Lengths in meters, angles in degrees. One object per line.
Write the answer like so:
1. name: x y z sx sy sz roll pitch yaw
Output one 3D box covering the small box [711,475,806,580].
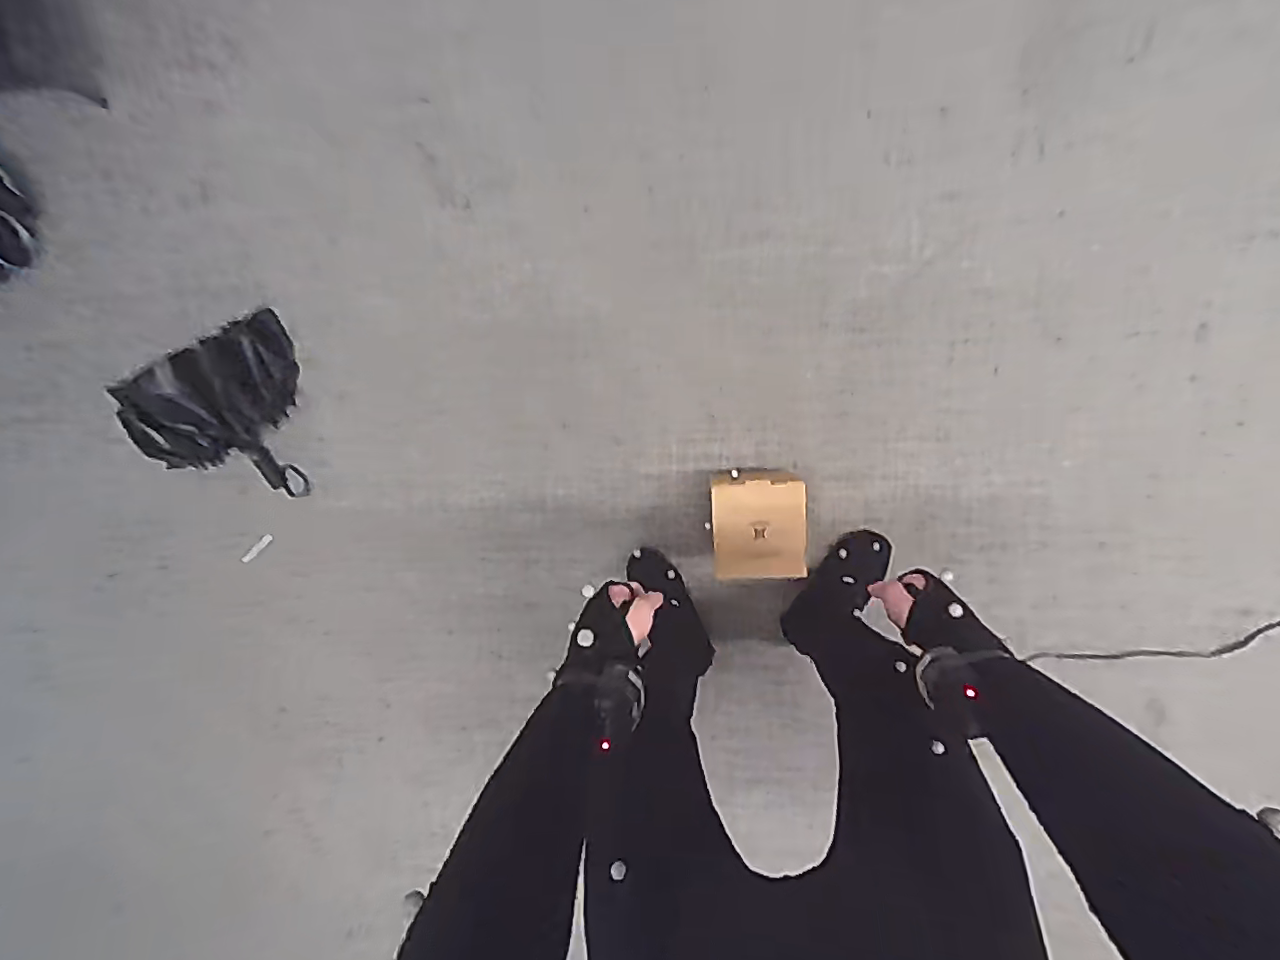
1. small box: 0.223 0.085 1.049 0.168 0.176 0.179 -2 98 8
